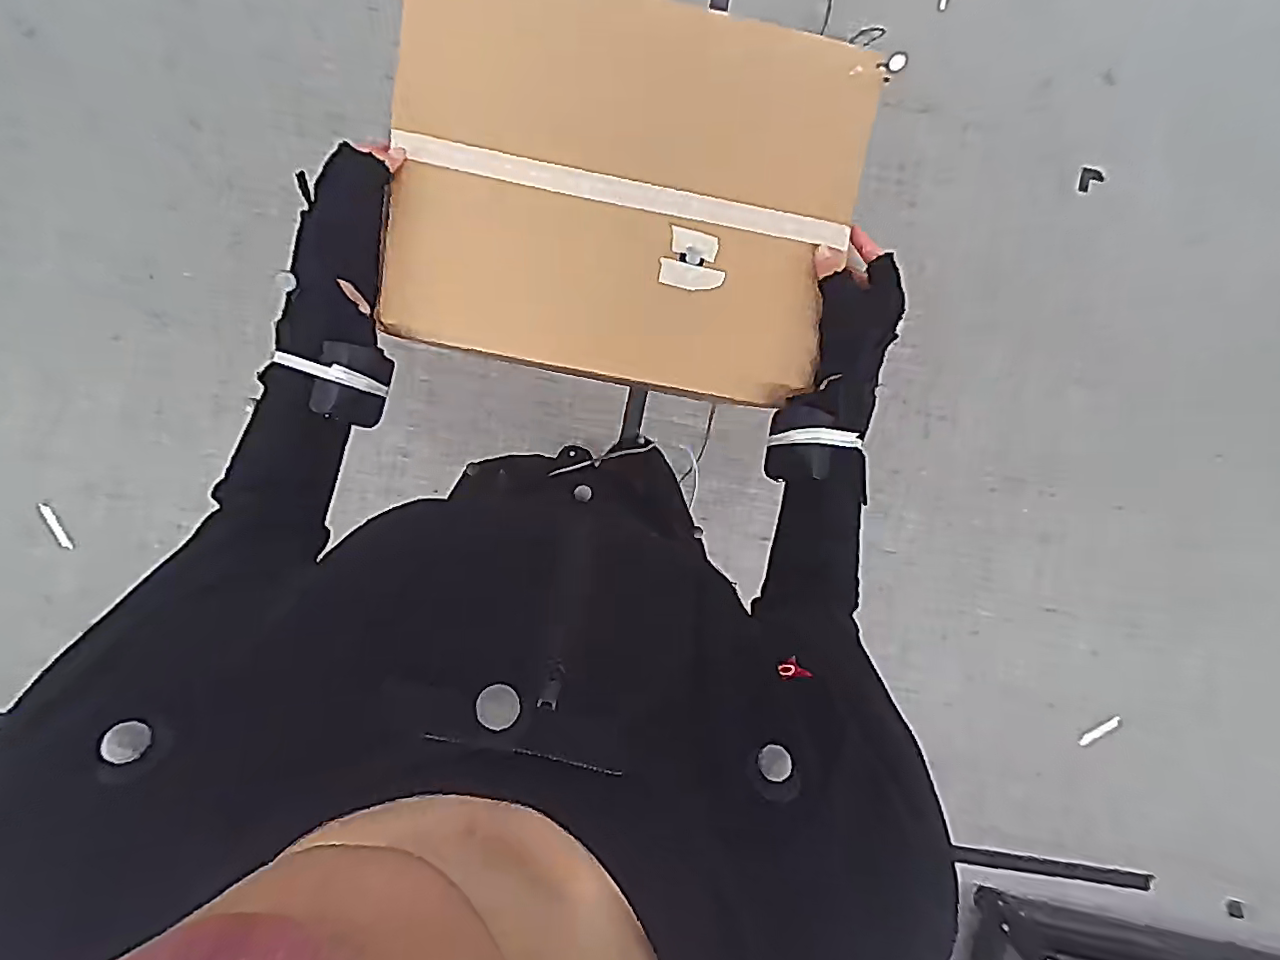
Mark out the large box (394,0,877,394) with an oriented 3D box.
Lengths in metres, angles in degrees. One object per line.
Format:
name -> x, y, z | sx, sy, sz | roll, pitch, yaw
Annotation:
large box -> -0.018, -0.287, 0.635 | 0.408, 0.320, 0.320 | 10, 100, -5
